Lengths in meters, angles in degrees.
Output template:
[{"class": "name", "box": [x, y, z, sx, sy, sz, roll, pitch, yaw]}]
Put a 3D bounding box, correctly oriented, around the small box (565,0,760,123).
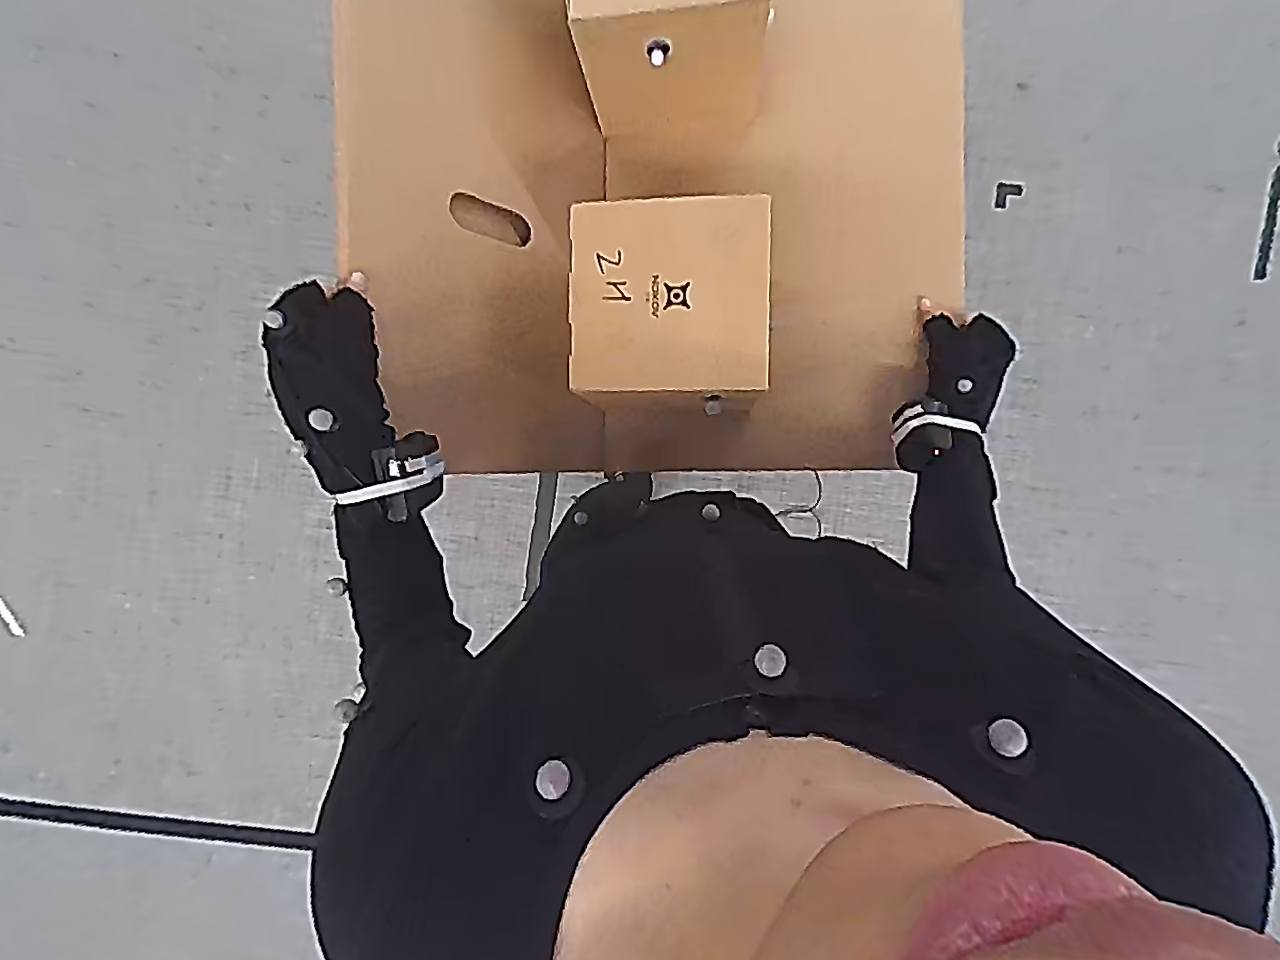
[{"class": "small box", "box": [0.028, -0.495, 0.546, 0.179, 0.176, 0.168, -1, 92, 6]}]
